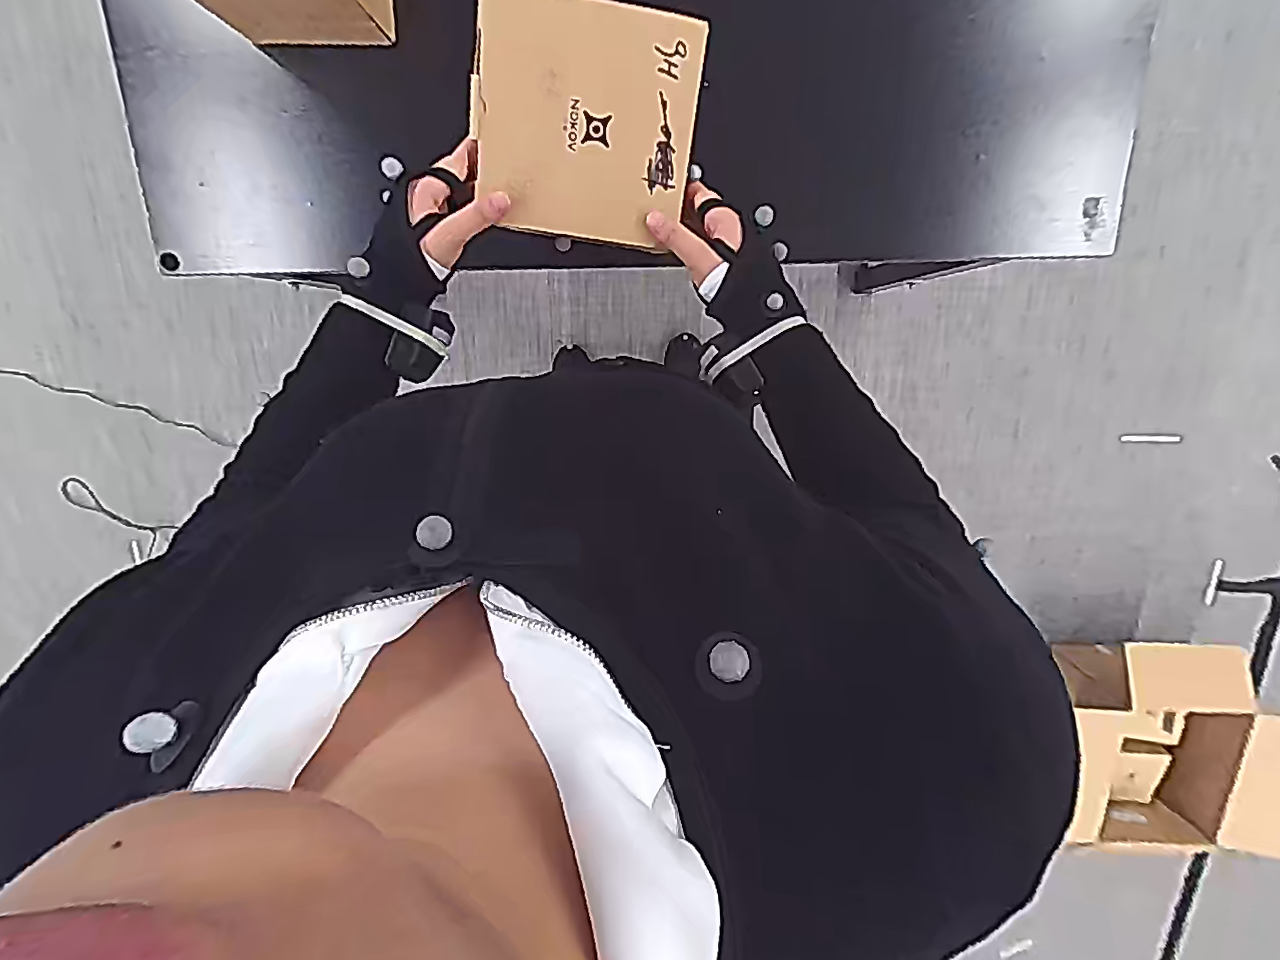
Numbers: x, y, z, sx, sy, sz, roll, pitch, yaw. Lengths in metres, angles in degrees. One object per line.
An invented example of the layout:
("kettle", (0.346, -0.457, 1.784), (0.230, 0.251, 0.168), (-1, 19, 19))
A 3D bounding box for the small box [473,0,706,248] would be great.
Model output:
("small box", (-0.048, -0.321, 0.515), (0.179, 0.176, 0.168), (7, 112, -6))

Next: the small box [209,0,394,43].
("small box", (-0.376, -0.577, 0.543), (0.179, 0.176, 0.168), (1, 104, 0))
